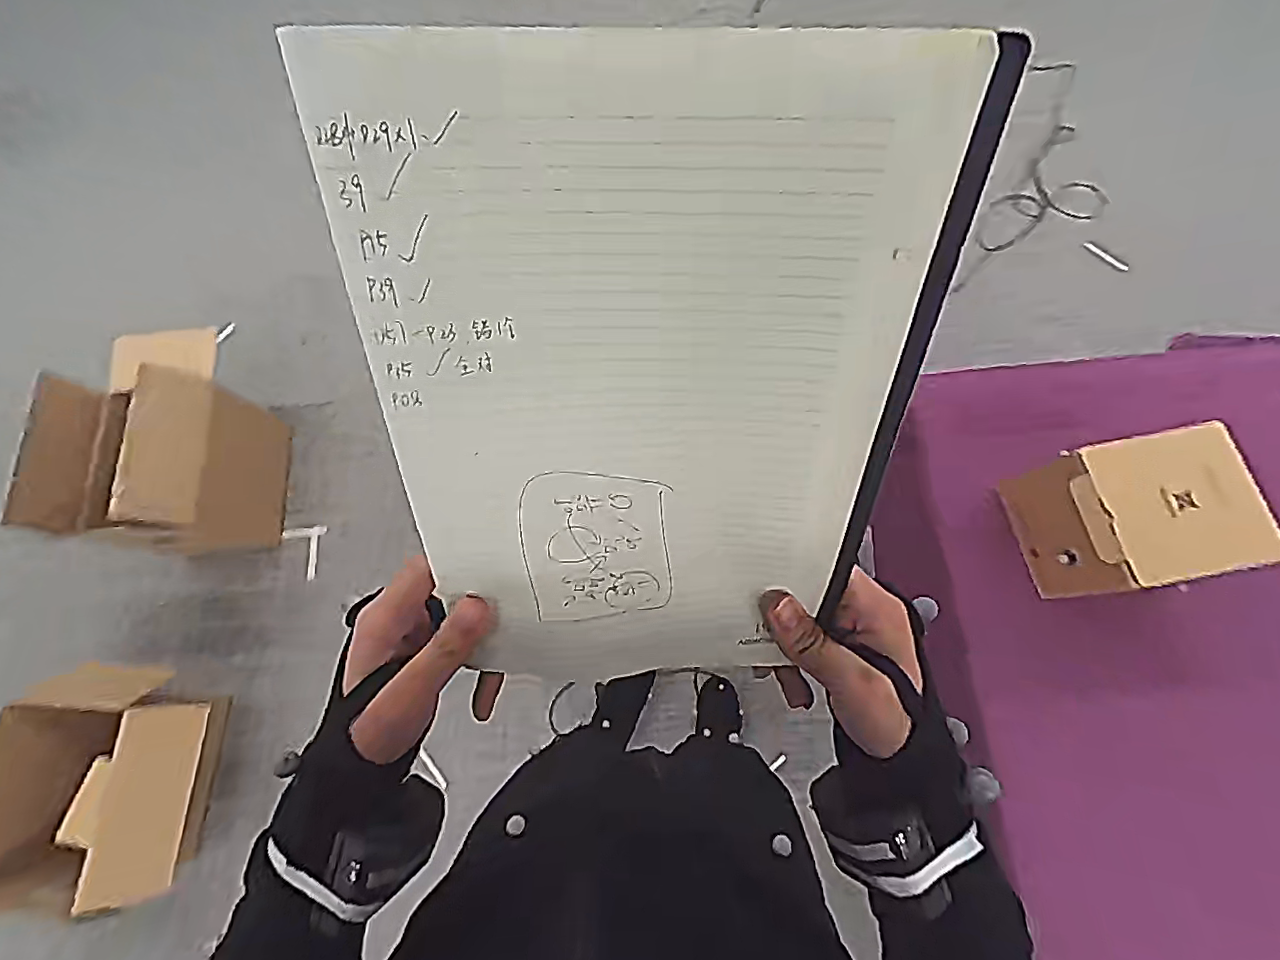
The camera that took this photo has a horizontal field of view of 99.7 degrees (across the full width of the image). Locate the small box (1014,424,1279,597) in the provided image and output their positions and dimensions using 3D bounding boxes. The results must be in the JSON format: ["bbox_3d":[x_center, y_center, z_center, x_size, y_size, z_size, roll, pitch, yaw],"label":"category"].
[{"bbox_3d":[0.615,0.048,0.681,0.179,0.176,0.168,-11,74,1],"label":"small box"}]
